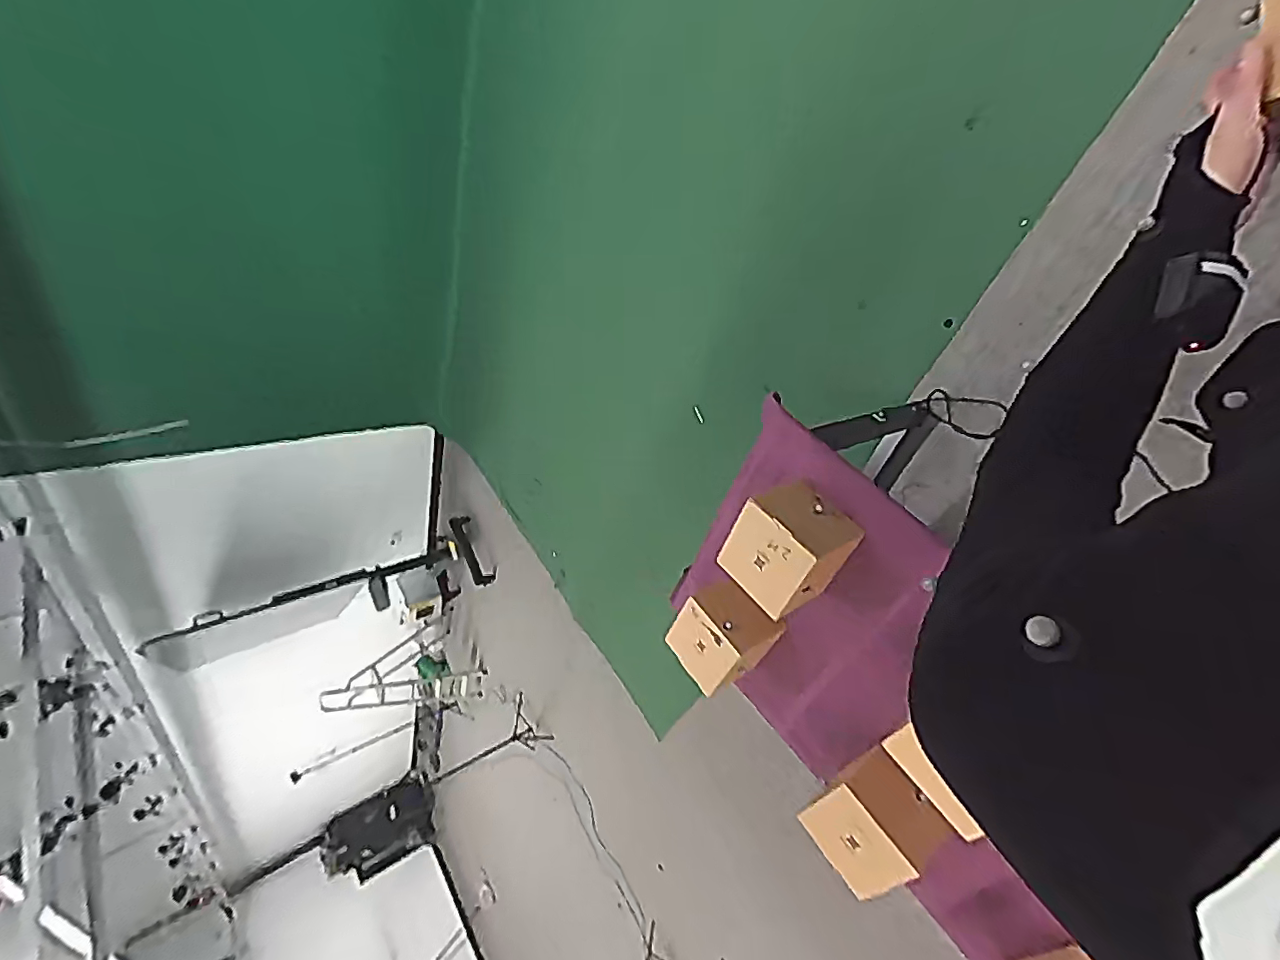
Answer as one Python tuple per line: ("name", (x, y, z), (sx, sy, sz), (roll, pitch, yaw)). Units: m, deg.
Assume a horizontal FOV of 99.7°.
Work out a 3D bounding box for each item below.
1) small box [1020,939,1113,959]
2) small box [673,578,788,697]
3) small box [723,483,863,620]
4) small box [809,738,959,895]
("small box", (0.694, 0.867, 0.838), (0.168, 0.176, 0.179), (47, 134, 30))
("small box", (0.209, 0.355, 1.243), (0.168, 0.176, 0.179), (46, 134, 29))
("small box", (0.299, 0.134, 1.053), (0.168, 0.176, 0.179), (44, 133, 29))
("small box", (0.468, 0.637, 1.036), (0.168, 0.176, 0.179), (48, 134, 28))
